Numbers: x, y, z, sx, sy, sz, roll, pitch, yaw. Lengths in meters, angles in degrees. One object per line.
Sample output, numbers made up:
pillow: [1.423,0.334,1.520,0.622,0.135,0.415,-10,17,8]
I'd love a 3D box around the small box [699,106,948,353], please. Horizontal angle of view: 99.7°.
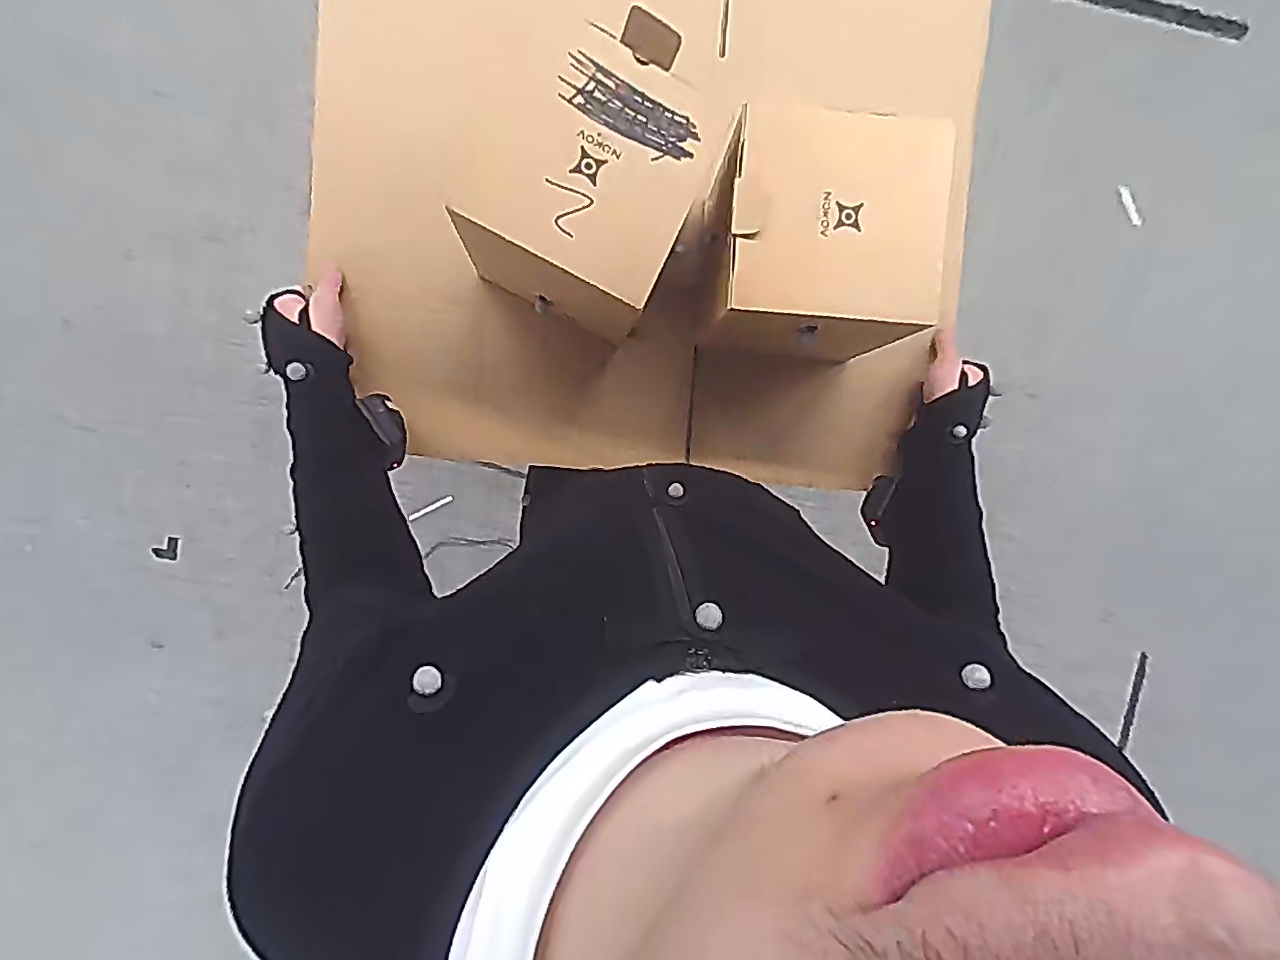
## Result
small box: [0.162,-0.224,0.531,0.179,0.176,0.168,4,93,-2]
